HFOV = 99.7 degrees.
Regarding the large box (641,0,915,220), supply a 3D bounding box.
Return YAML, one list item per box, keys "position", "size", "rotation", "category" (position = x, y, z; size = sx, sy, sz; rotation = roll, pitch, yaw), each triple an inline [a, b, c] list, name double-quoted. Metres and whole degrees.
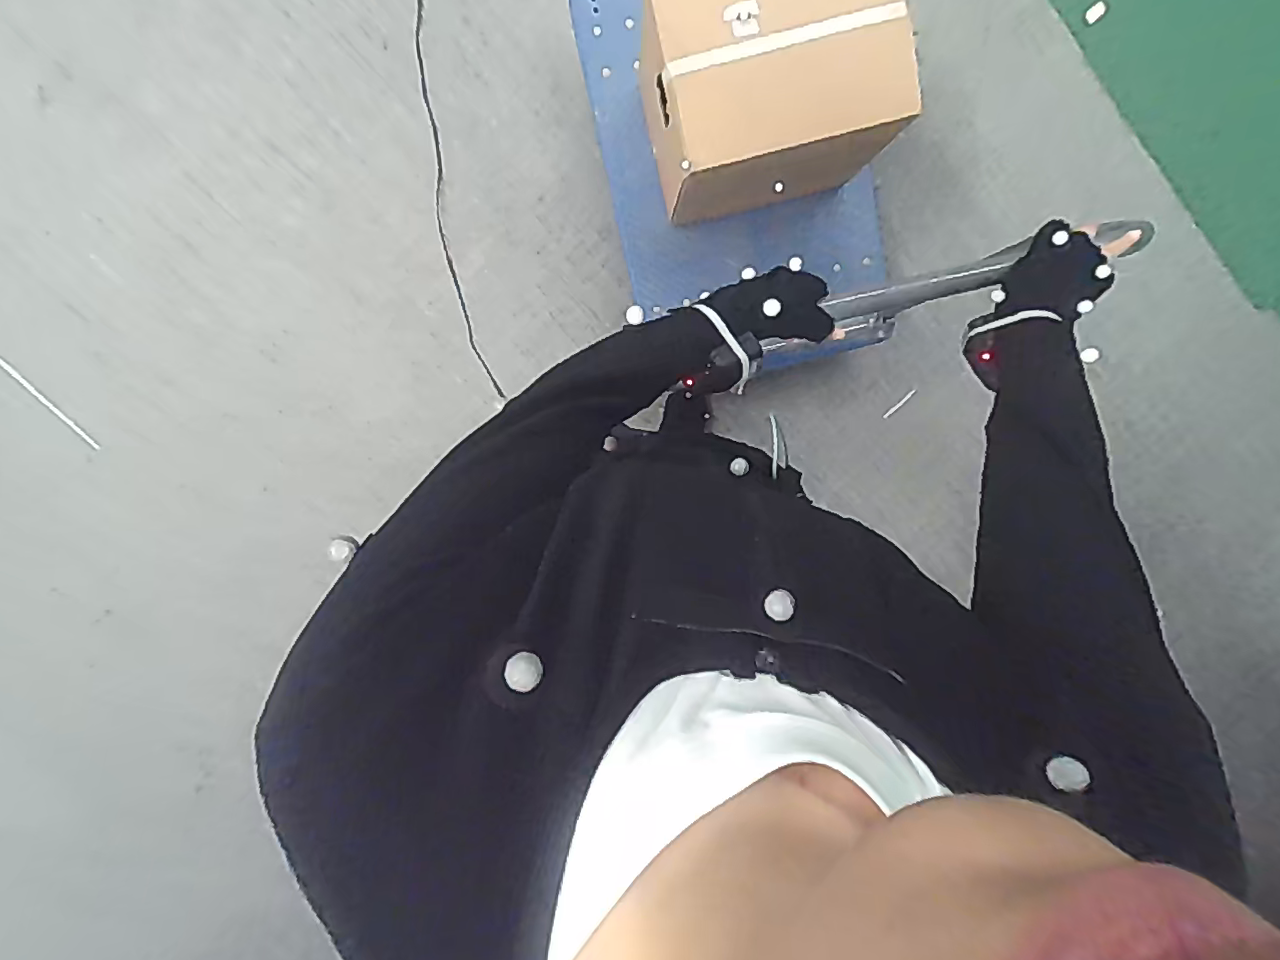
- position: [0.234, -0.744, 1.034]
  size: [0.408, 0.320, 0.320]
  rotation: [-14, 100, 1]
  category: "large box"
